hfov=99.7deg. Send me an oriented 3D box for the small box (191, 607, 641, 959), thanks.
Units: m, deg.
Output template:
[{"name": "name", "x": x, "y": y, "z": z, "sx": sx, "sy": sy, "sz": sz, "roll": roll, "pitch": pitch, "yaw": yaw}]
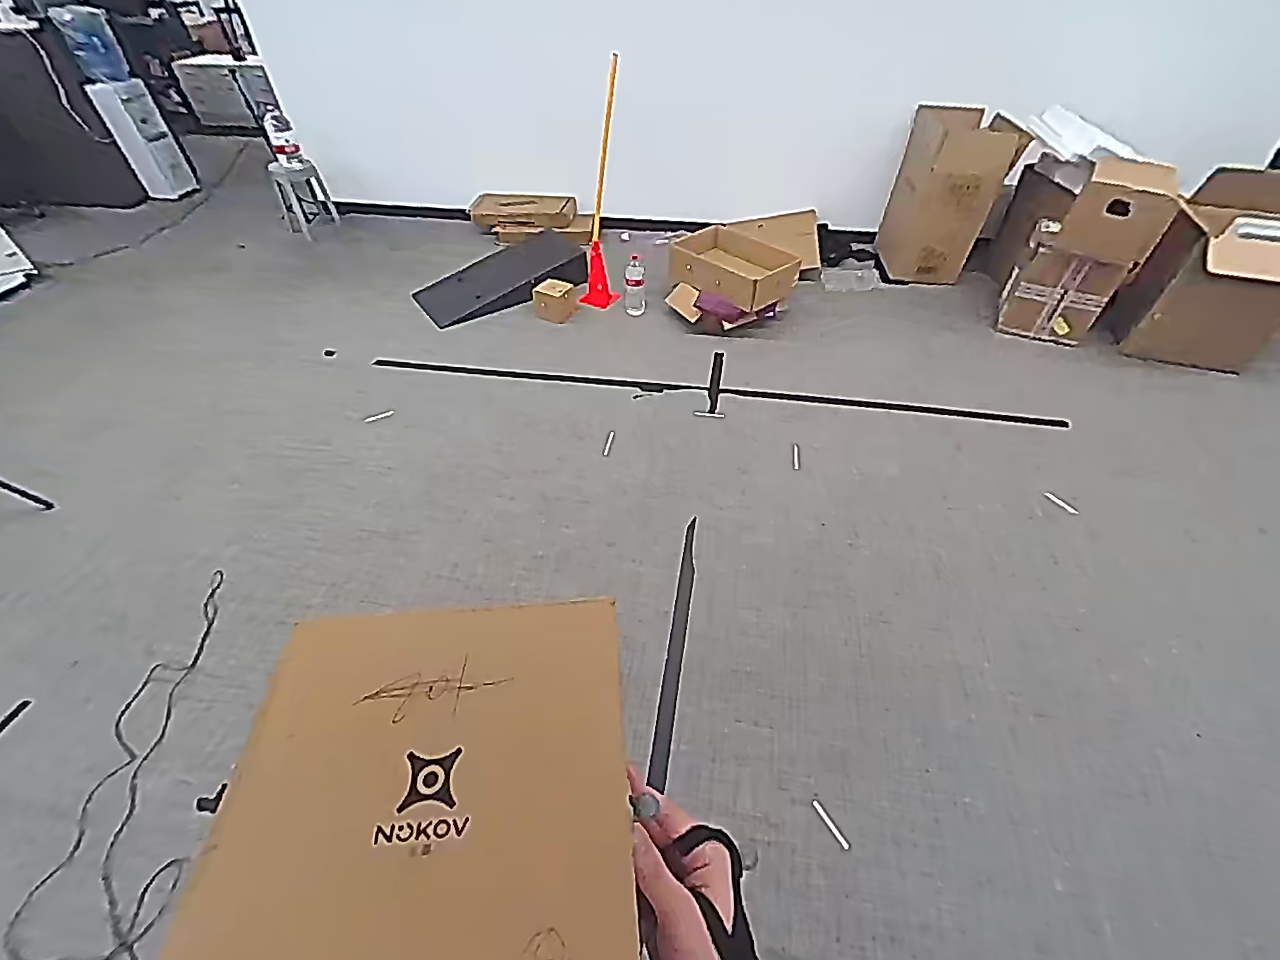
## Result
[{"name": "small box", "x": -0.087, "y": 0.193, "z": 0.292, "sx": 0.168, "sy": 0.176, "sz": 0.179, "roll": -3, "pitch": 45, "yaw": -6}]
